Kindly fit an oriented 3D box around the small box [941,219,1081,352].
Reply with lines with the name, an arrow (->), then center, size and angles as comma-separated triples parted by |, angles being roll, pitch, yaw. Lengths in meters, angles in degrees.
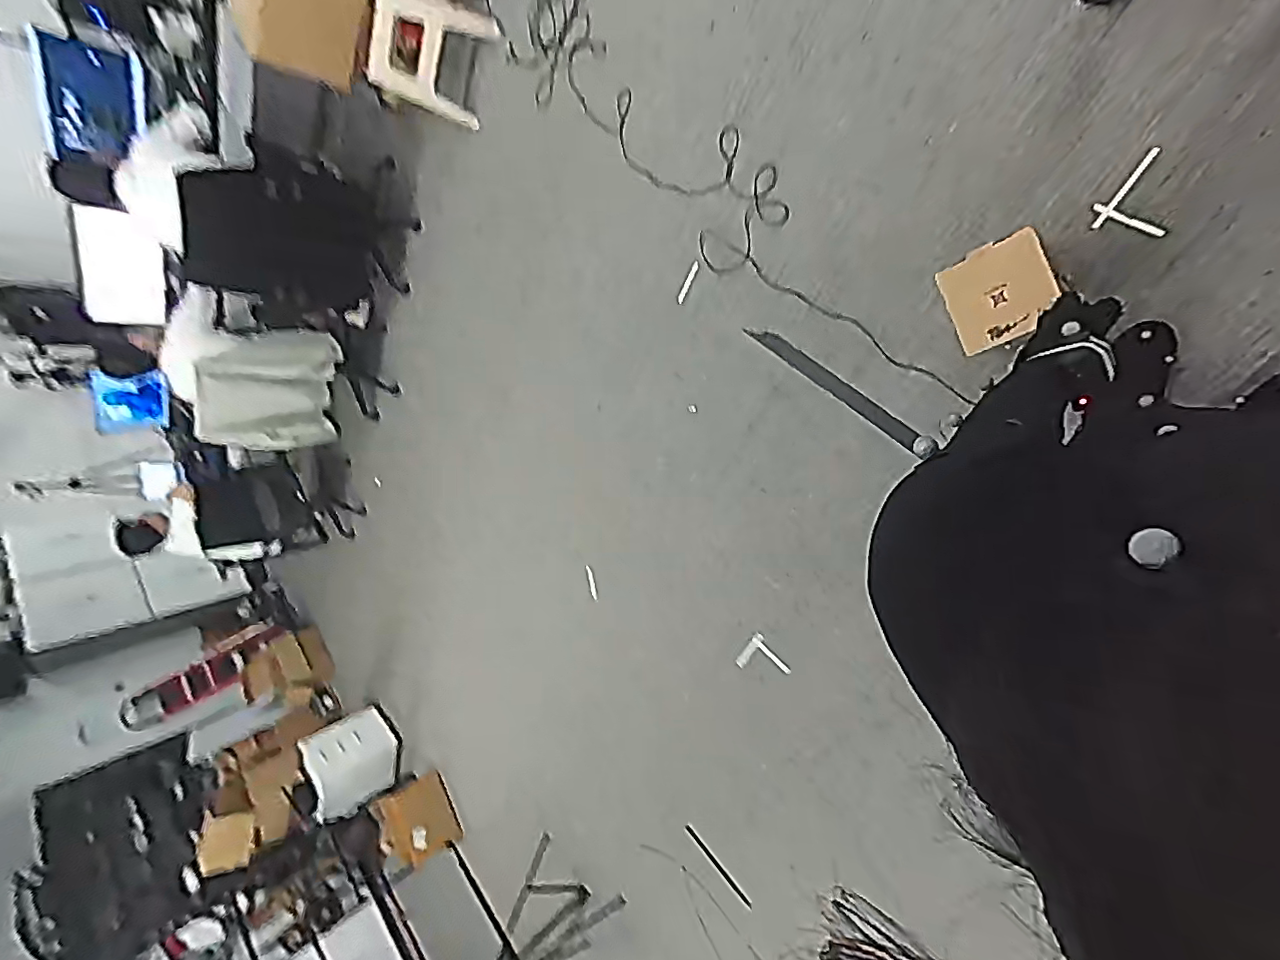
small box -> 0.705, -0.356, 1.026 | 0.168, 0.176, 0.179 | -24, 84, 43
